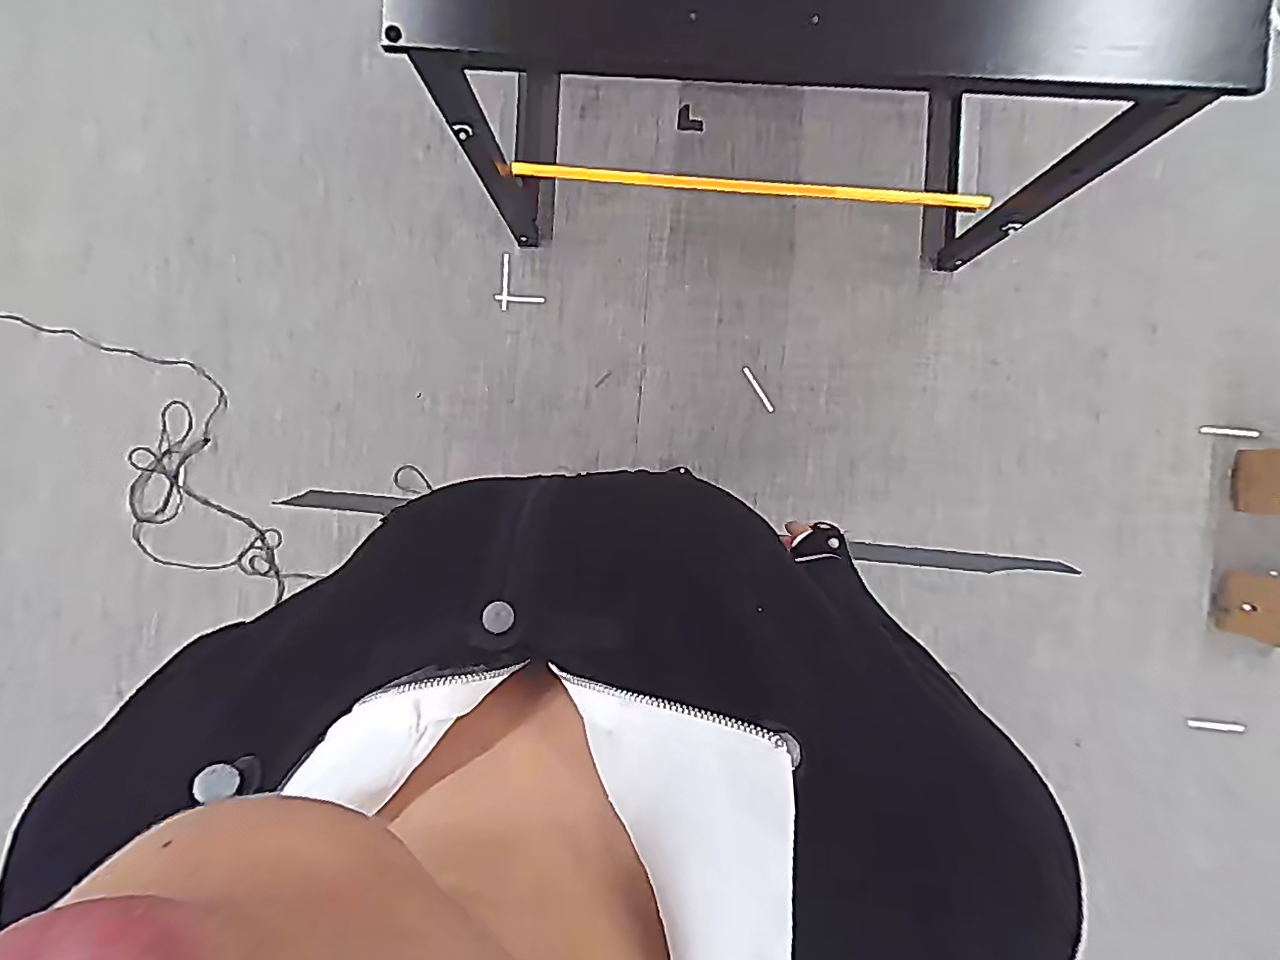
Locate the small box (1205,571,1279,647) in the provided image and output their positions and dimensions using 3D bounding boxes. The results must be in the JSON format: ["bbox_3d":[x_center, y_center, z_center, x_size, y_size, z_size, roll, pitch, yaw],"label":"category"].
[{"bbox_3d":[1.643,0.336,1.405,0.179,0.176,0.168,6,92,2],"label":"small box"}]

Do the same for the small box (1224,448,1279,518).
[{"bbox_3d":[1.675,0.011,1.393,0.168,0.176,0.179,3,91,0],"label":"small box"}]
